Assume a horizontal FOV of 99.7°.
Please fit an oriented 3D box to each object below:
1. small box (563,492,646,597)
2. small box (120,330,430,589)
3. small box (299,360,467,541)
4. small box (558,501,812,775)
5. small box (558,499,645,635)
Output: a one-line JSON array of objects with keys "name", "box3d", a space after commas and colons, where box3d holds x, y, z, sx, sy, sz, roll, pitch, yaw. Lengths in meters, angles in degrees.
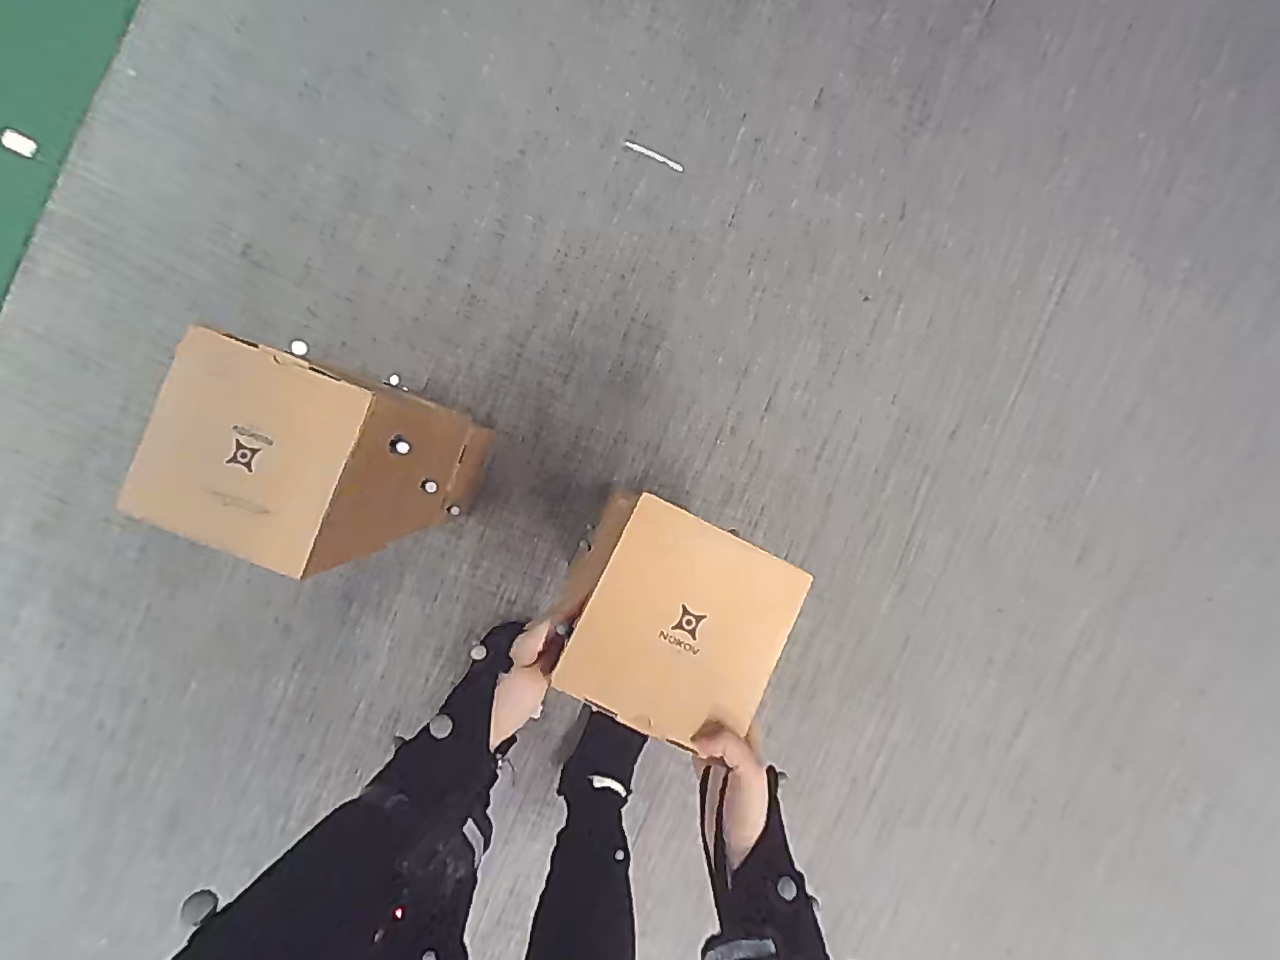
[{"name": "small box", "box3d": [-0.012, 0.132, 0.891, 0.168, 0.176, 0.179, 30, 91, -5]}, {"name": "small box", "box3d": [-0.331, -0.019, 0.533, 0.168, 0.176, 0.179, 21, 91, -3]}, {"name": "small box", "box3d": [-0.342, -0.030, 0.694, 0.168, 0.176, 0.179, 20, 91, -4]}, {"name": "small box", "box3d": [0.031, 0.137, 0.525, 0.168, 0.176, 0.179, 26, 82, -4]}, {"name": "small box", "box3d": [0.004, 0.136, 0.727, 0.168, 0.176, 0.179, 28, 90, -4]}]
